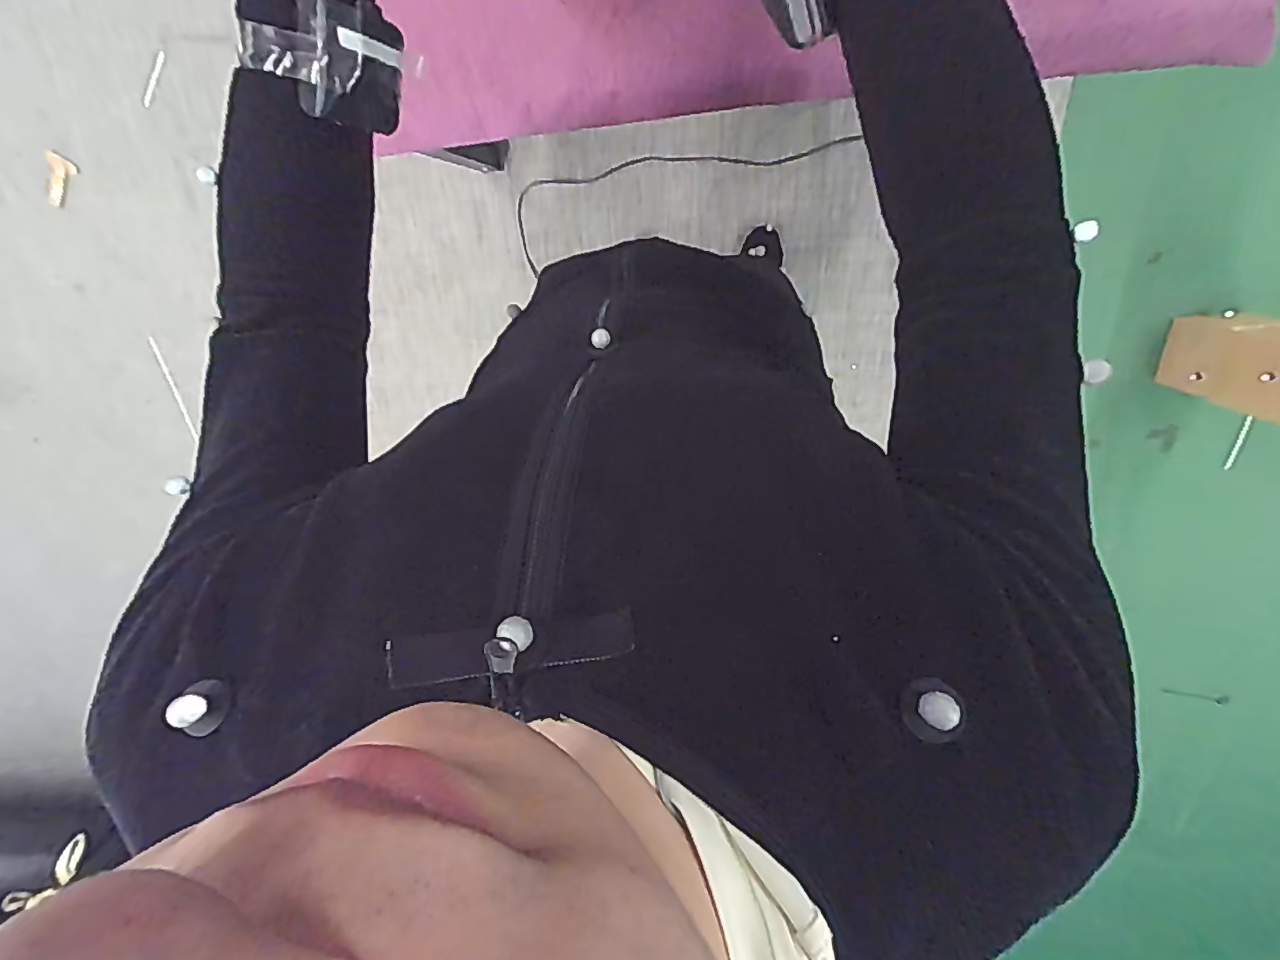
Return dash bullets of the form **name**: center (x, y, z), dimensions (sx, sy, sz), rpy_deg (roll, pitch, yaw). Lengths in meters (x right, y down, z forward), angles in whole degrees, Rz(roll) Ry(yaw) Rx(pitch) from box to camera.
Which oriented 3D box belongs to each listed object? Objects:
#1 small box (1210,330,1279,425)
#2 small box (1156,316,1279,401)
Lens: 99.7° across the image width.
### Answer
- **small box**: center (1.457, -0.236, 1.216), dimensions (0.168, 0.176, 0.179), rpy_deg (-4, 112, 7)
- **small box**: center (1.467, -0.308, 1.361), dimensions (0.168, 0.176, 0.179), rpy_deg (-2, 114, 6)
